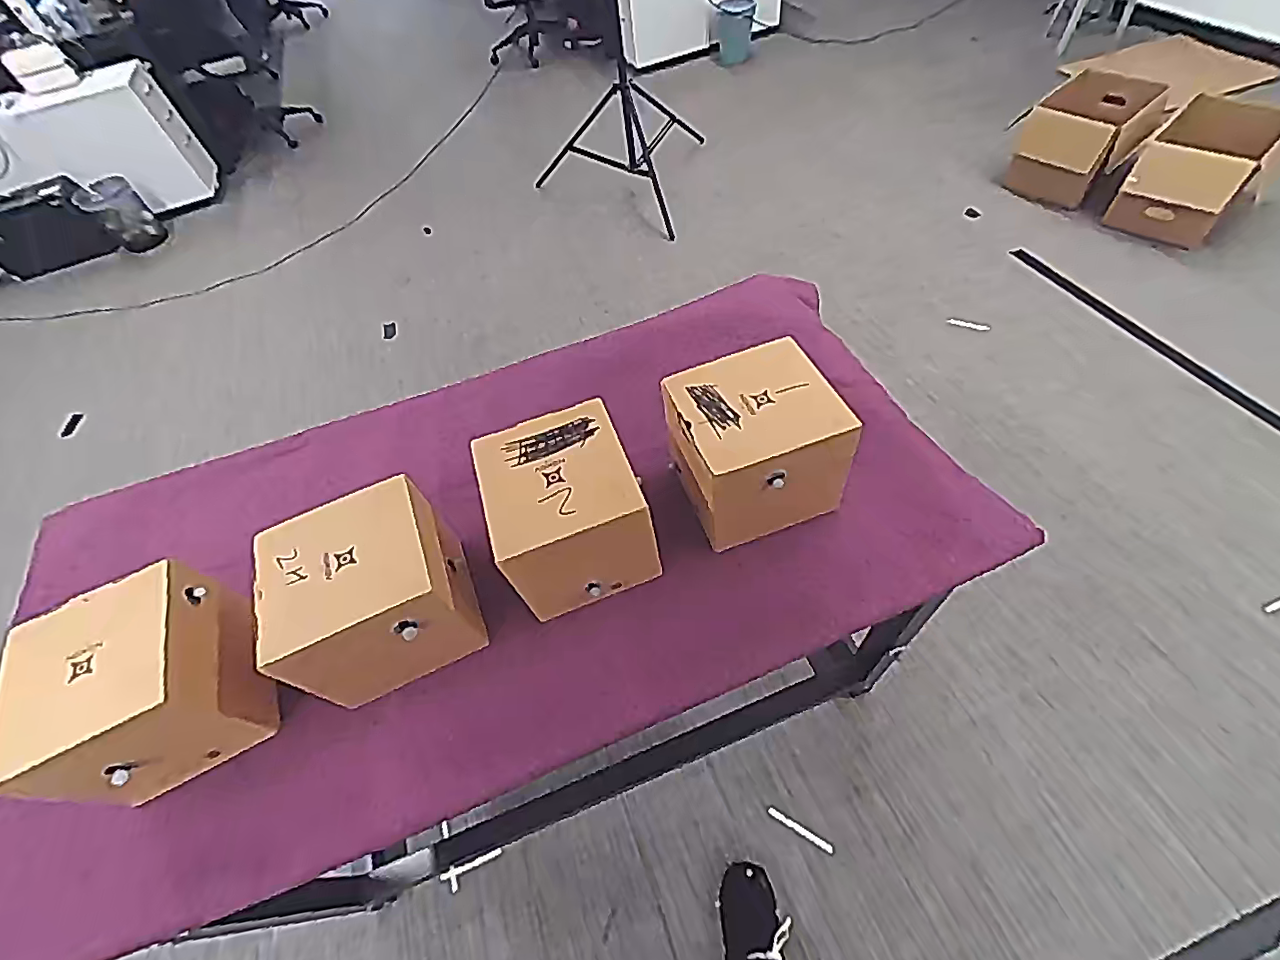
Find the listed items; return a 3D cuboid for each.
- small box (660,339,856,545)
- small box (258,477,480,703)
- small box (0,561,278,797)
[{"bbox_3d":[0.140,-0.042,0.685,0.179,0.176,0.168,-19,53,-5],"label":"small box"},{"bbox_3d":[-0.304,0.132,0.633,0.179,0.176,0.168,-24,55,-9],"label":"small box"},{"bbox_3d":[-0.541,0.229,0.605,0.168,0.176,0.179,-27,55,-10],"label":"small box"}]
